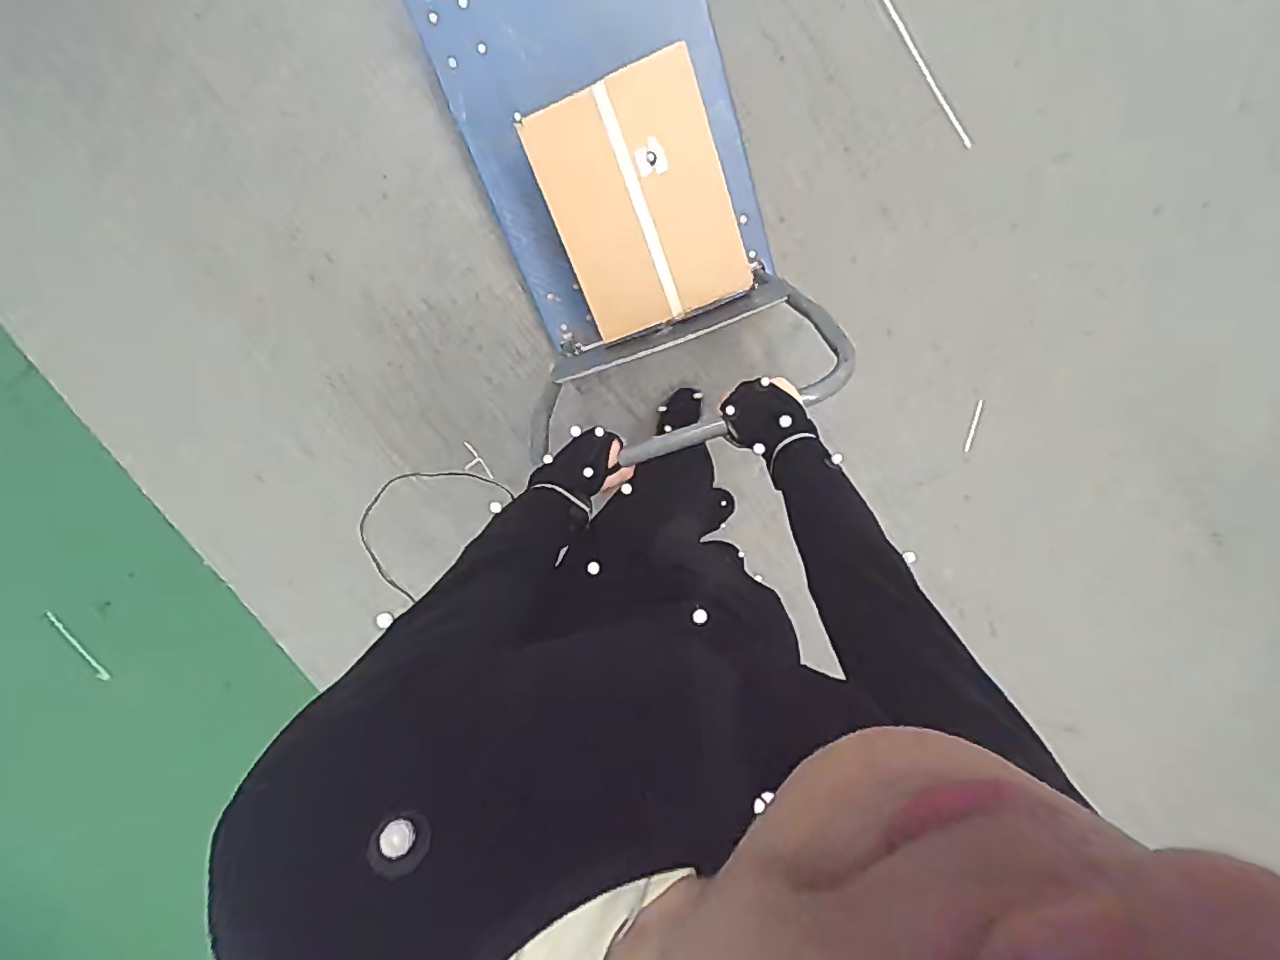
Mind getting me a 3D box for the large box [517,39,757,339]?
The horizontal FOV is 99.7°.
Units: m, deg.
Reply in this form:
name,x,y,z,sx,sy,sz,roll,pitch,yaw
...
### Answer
name,x,y,z,sx,sy,sz,roll,pitch,yaw
large box,0.011,-0.553,1.100,0.320,0.320,0.408,-20,113,10
